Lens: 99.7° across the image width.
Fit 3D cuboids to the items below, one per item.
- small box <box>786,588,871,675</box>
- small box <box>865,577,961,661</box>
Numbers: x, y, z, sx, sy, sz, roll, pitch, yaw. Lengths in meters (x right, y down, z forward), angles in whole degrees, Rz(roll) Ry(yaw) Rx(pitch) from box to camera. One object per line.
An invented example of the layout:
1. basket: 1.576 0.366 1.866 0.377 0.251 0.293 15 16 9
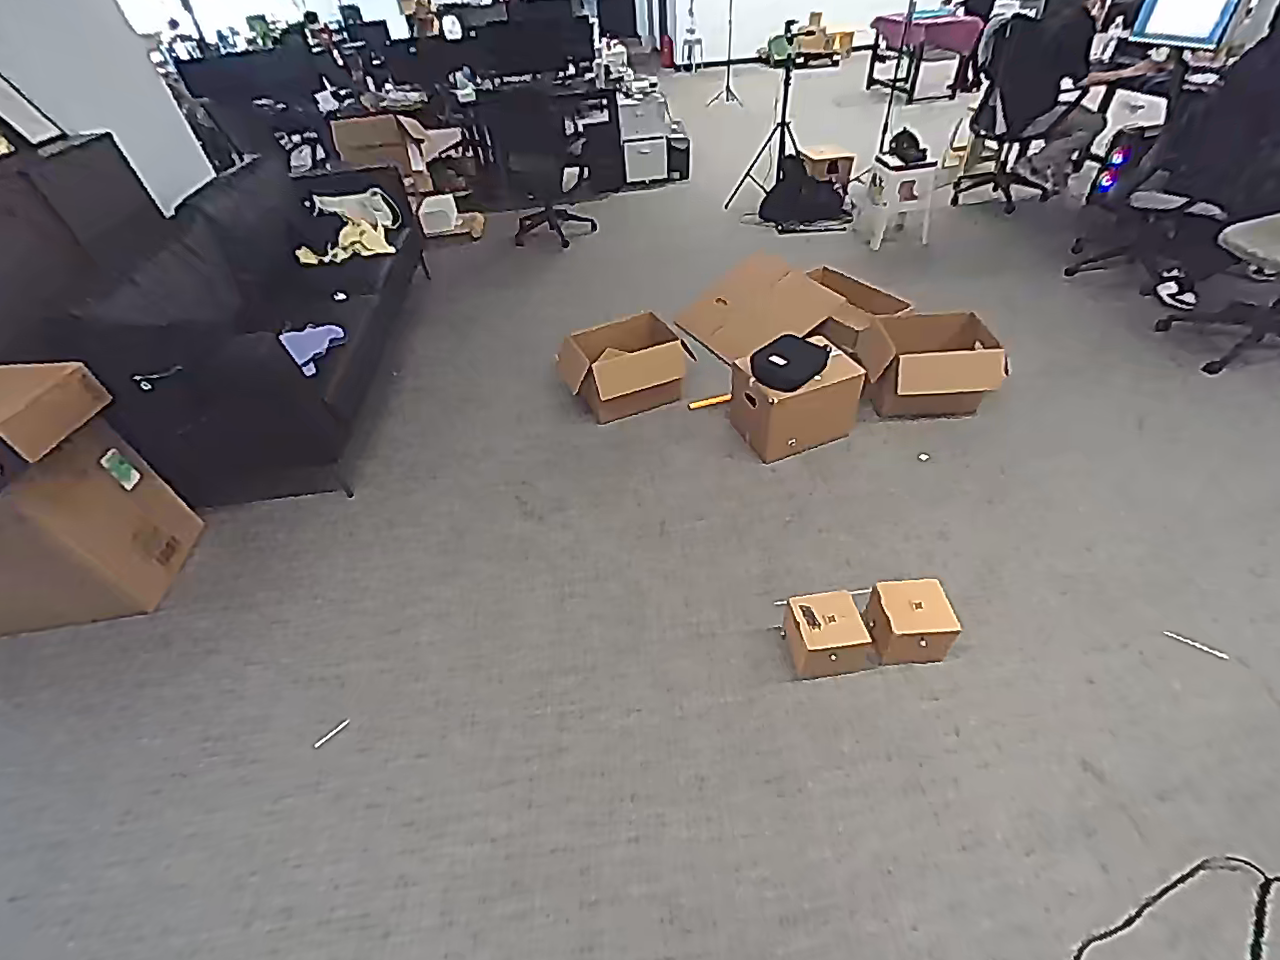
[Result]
1. small box: 0.517 0.429 1.517 0.179 0.176 0.168 -8 44 -2
2. small box: 0.760 0.394 1.524 0.179 0.176 0.168 -5 44 3
